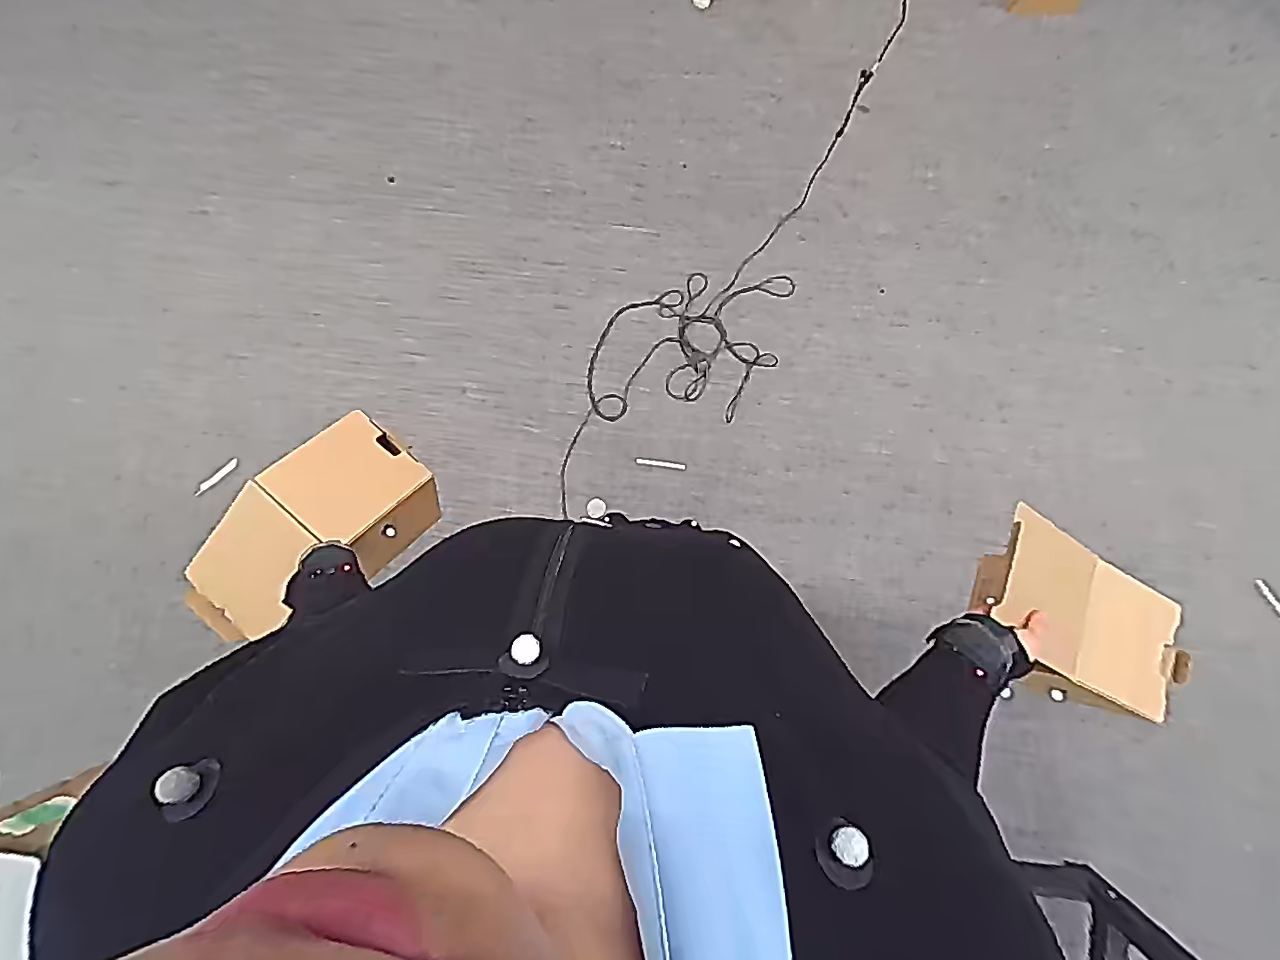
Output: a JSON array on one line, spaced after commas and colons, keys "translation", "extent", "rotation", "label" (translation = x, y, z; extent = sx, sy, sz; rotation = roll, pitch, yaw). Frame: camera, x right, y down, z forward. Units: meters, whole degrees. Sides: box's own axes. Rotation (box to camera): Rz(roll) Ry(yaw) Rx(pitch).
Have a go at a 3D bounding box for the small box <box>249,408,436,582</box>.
[{"translation": [-0.441, 0.030, 0.838], "extent": [0.168, 0.176, 0.179], "rotation": [39, 61, 6], "label": "small box"}]
